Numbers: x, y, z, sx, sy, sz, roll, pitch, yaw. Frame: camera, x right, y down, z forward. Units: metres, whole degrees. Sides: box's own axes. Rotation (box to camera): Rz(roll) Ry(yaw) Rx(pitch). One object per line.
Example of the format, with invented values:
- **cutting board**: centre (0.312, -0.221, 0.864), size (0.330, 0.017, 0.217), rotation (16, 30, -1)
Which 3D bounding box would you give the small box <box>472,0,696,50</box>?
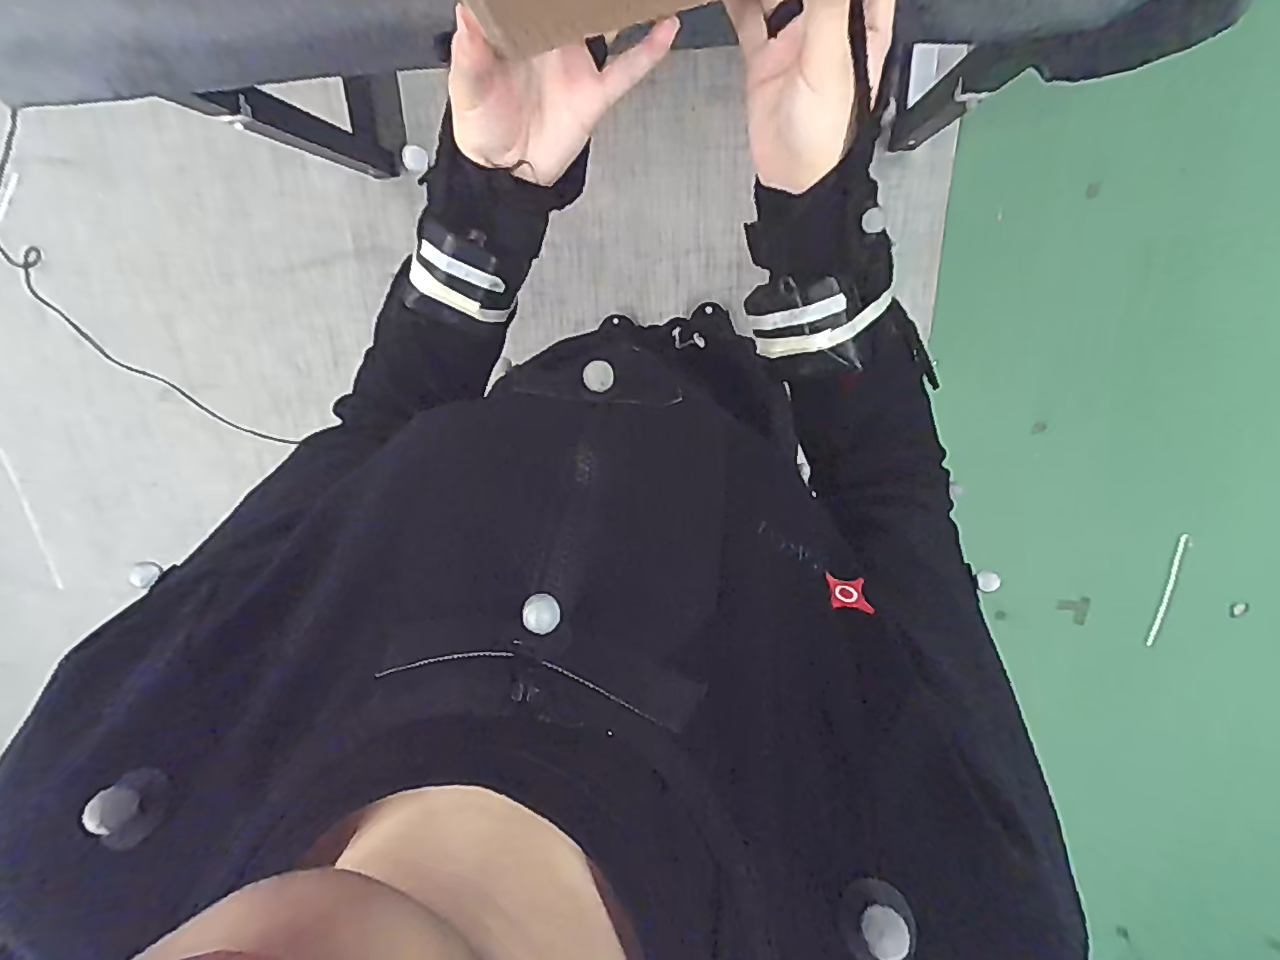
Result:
- **small box**: centre (-0.001, -0.258, 0.143), size (0.179, 0.176, 0.168), rotation (-15, 112, 4)
